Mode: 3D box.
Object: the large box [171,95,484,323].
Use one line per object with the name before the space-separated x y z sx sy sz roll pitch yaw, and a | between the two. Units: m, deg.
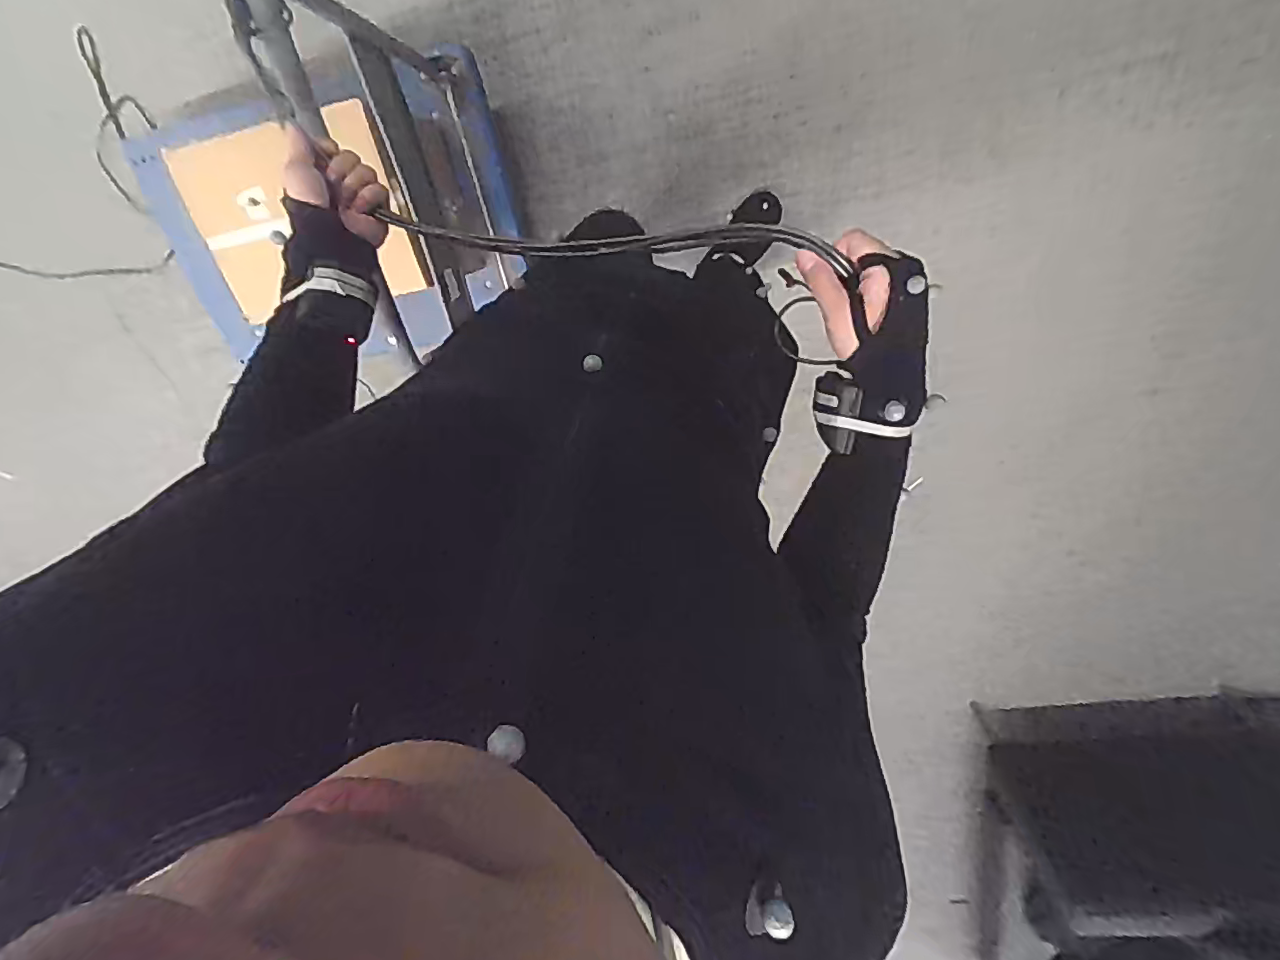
large box | -0.603 -0.549 1.126 0.408 0.320 0.320 -7 116 11
